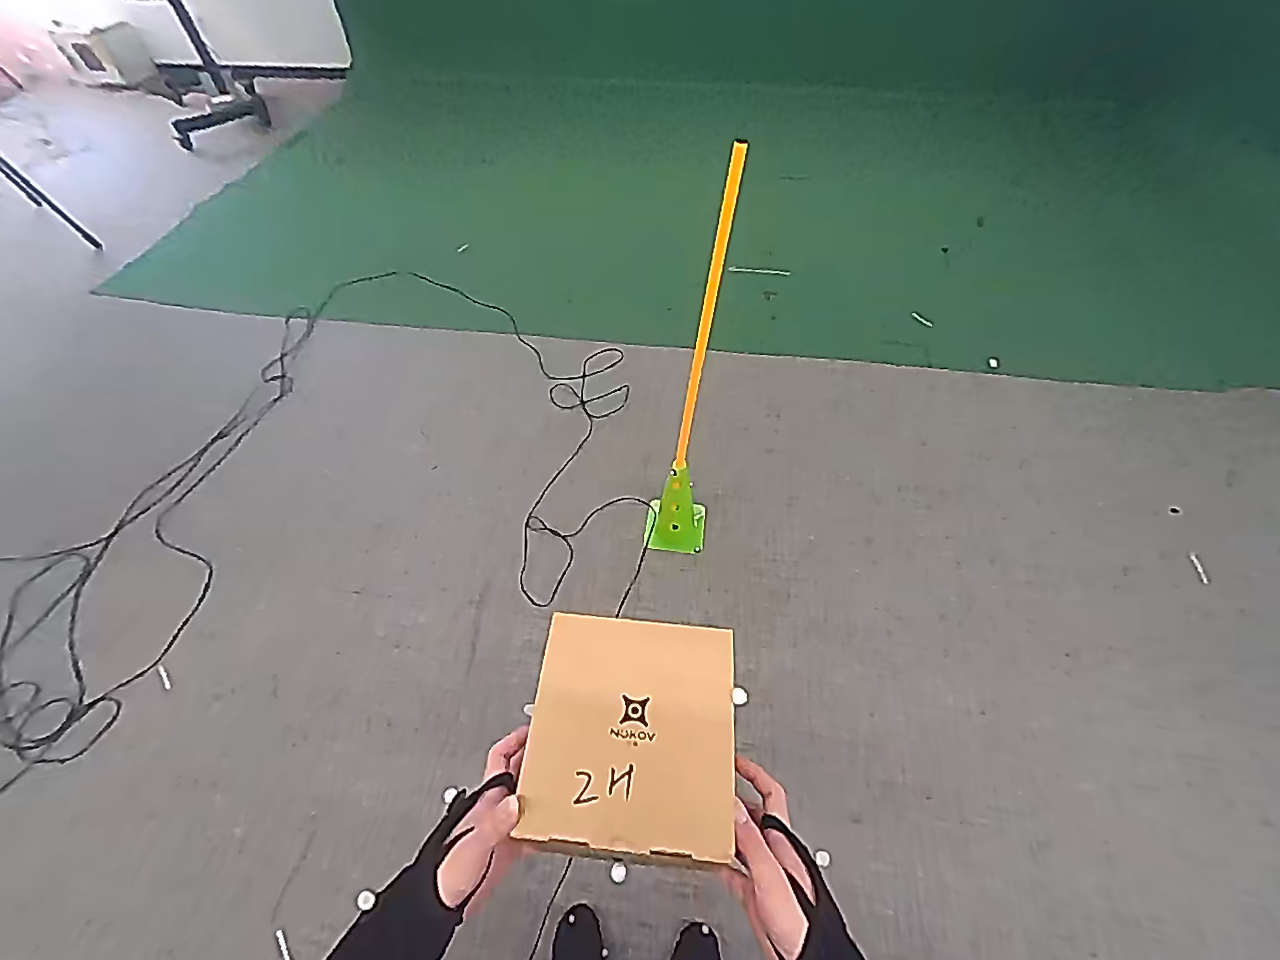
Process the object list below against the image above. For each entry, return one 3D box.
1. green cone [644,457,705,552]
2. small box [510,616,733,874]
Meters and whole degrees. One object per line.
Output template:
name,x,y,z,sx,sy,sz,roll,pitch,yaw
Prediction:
green cone,0.117,0.052,1.744,0.202,0.368,0.200,6,53,6
small box,-0.009,0.252,0.509,0.168,0.176,0.179,6,53,3
